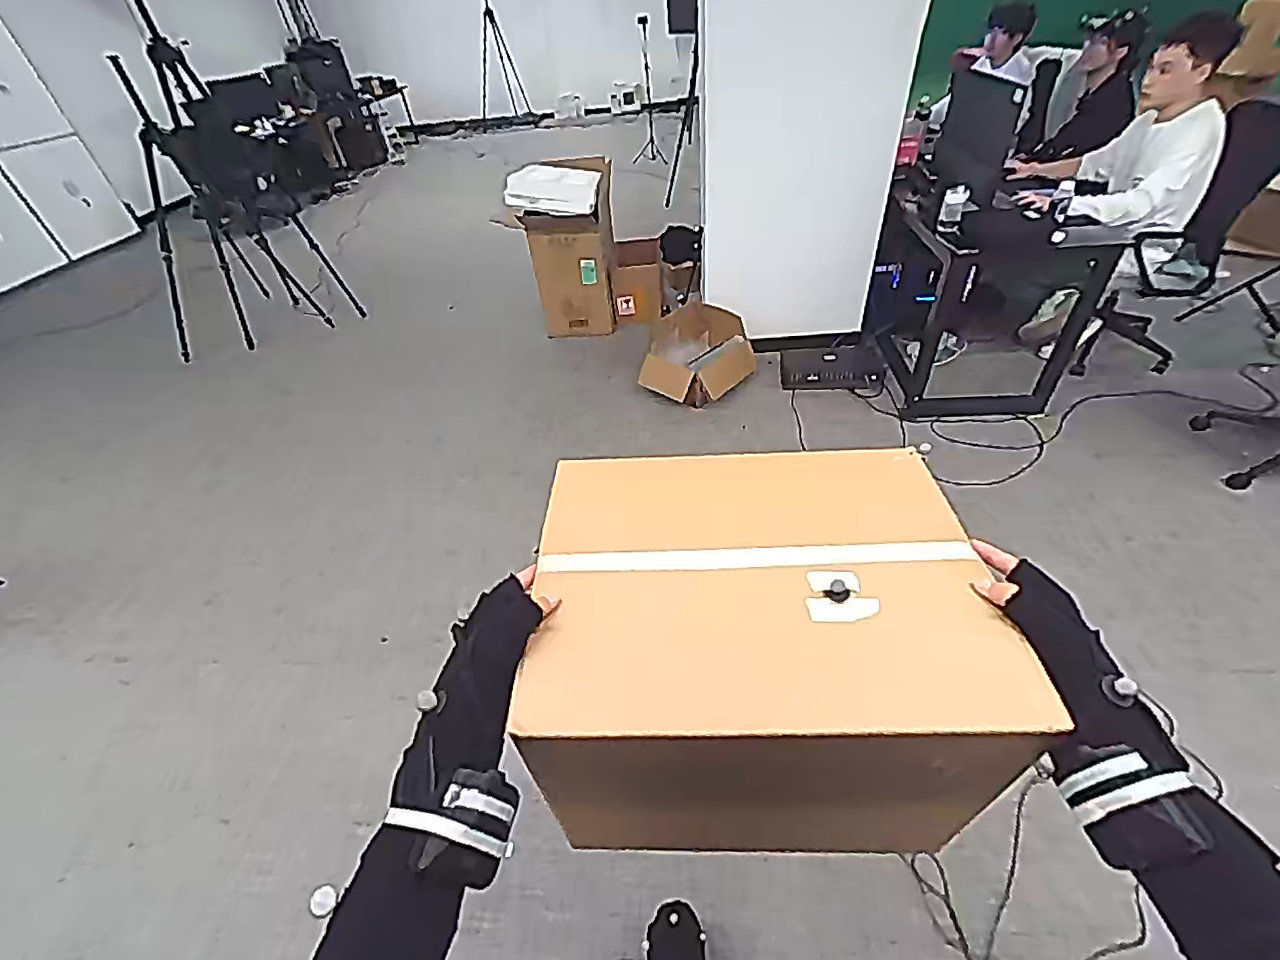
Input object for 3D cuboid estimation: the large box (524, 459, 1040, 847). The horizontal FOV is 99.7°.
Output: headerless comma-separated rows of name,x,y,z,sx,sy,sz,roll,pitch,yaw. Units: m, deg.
large box,0.113,0.196,0.620,0.408,0.320,0.320,-2,42,3
